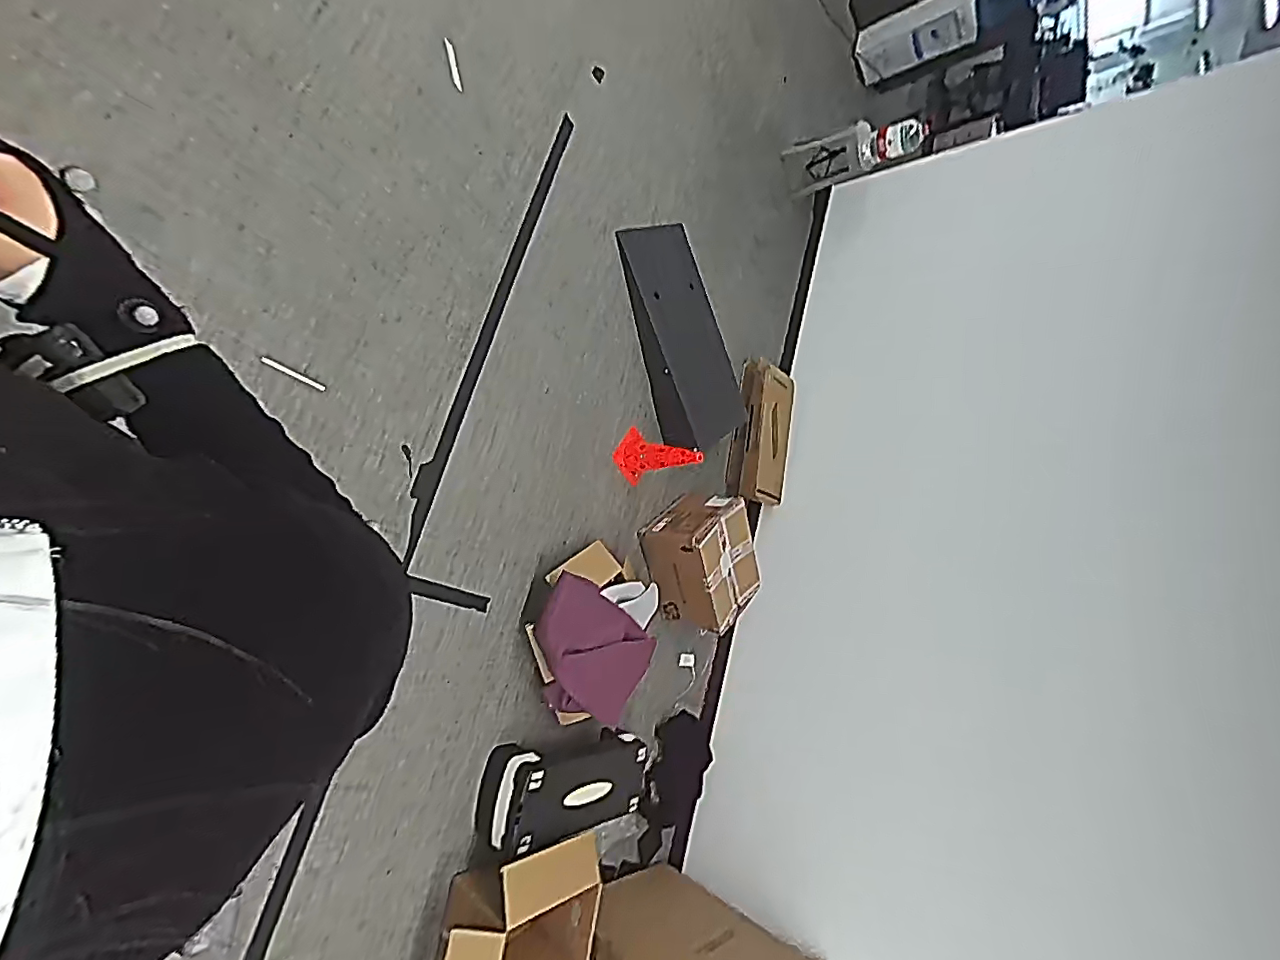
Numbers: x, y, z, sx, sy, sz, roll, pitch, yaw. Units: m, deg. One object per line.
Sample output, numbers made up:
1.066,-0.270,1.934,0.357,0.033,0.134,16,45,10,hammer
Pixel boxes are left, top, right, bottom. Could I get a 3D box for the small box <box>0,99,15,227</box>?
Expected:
-0.367,-0.180,0.186,0.168,0.176,0.179,-16,96,-53,small box
